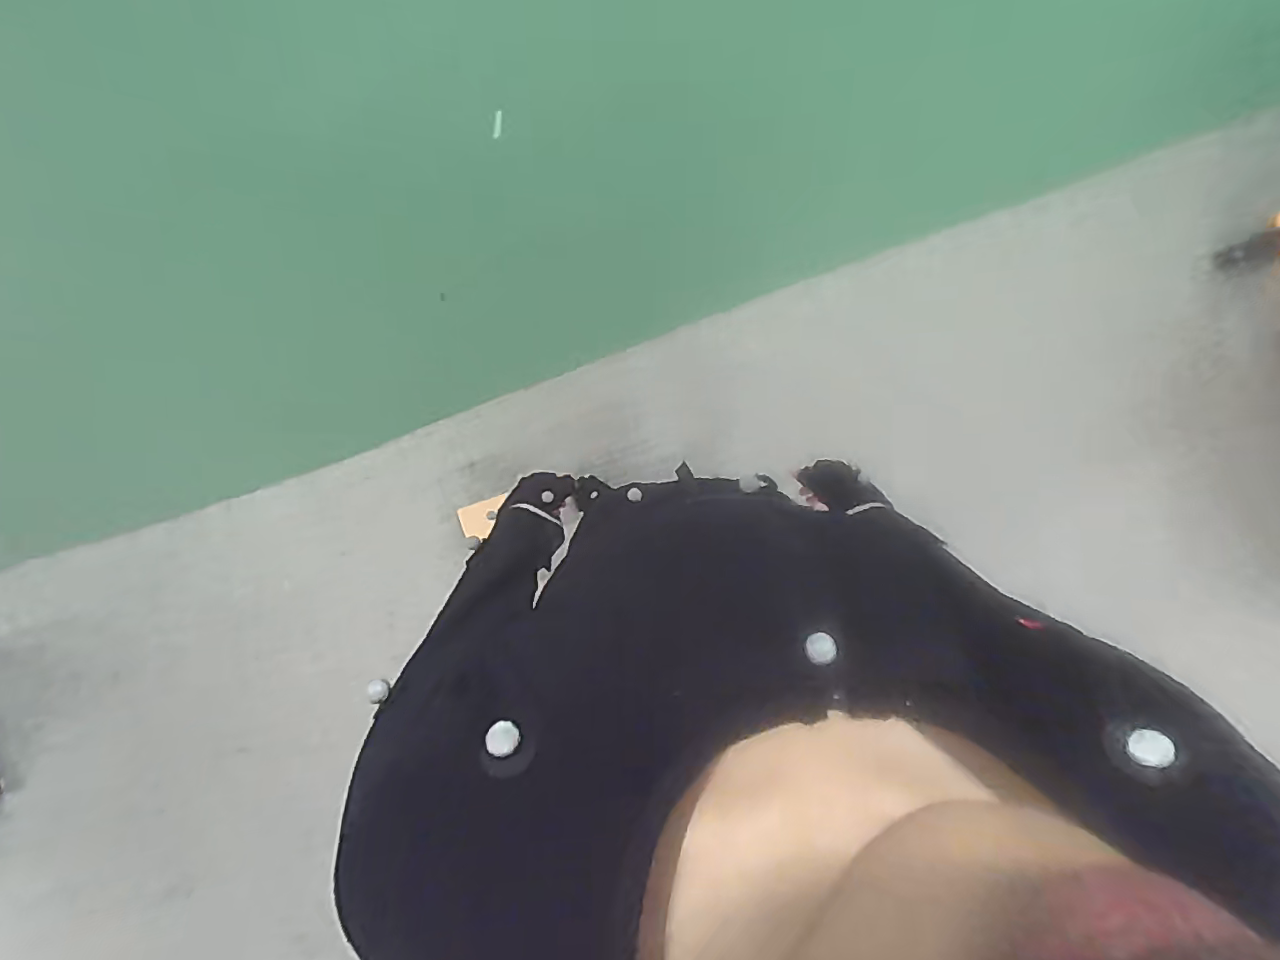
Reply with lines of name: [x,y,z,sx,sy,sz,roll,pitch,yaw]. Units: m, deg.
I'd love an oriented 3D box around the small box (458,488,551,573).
small box: [-0.339,0.122,1.397,0.179,0.176,0.168,-19,91,0]
